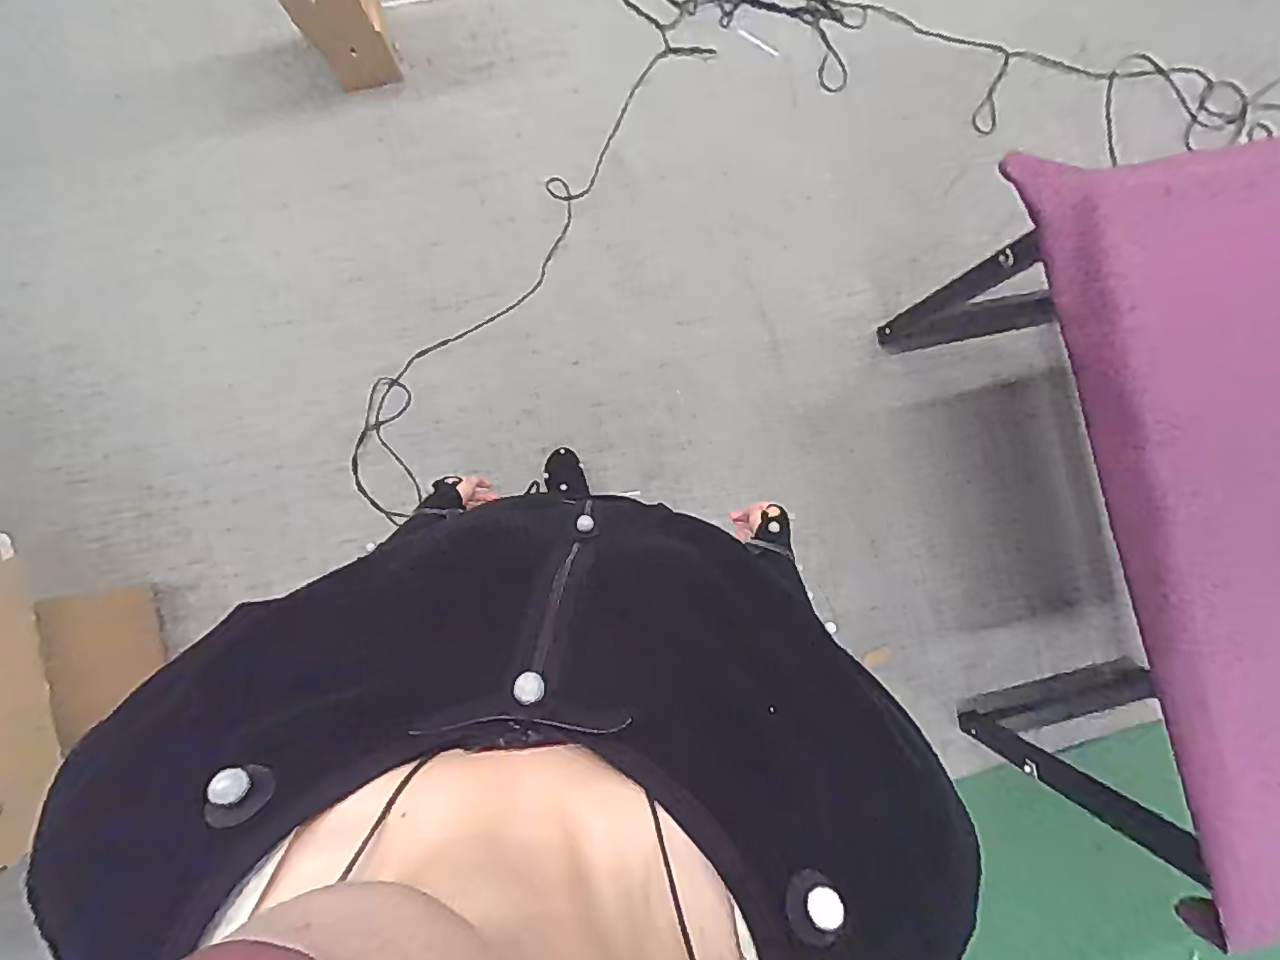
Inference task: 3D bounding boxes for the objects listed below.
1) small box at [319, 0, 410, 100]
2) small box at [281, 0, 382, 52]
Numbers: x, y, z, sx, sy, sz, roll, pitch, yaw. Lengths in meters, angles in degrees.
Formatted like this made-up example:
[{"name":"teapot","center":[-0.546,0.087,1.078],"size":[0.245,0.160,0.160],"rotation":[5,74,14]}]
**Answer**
[{"name":"small box","center":[-0.755,-1.176,1.466],"size":[0.179,0.176,0.168],"rotation":[-14,88,-3]},{"name":"small box","center":[-0.758,-1.181,1.302],"size":[0.179,0.176,0.168],"rotation":[-14,89,-3]}]
